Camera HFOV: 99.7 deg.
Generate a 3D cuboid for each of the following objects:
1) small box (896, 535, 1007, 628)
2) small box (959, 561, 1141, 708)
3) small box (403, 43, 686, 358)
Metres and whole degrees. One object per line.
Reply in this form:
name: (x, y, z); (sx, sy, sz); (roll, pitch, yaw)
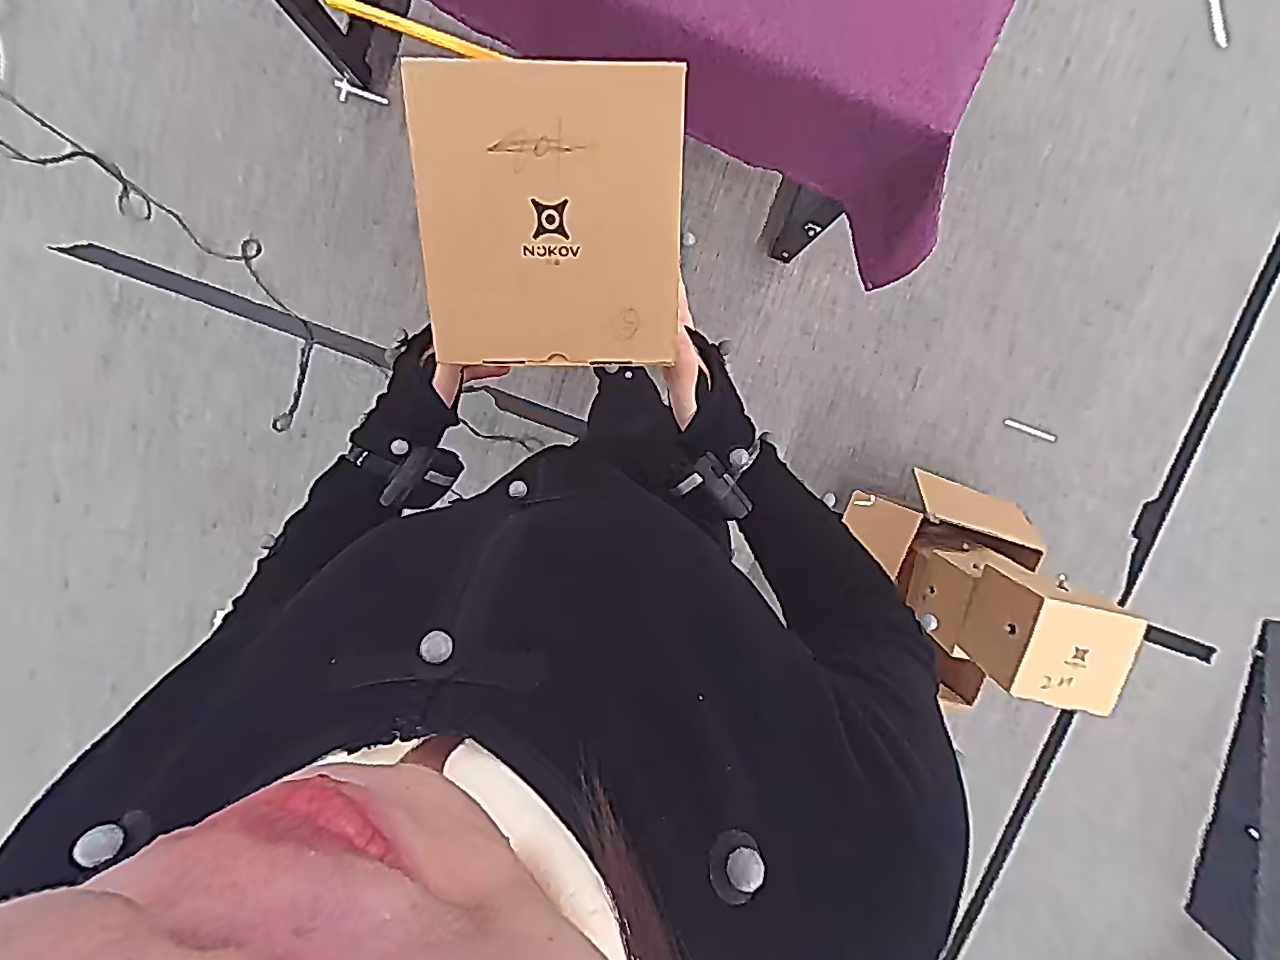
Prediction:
small box: (0.723, 0.231, 1.272); (0.168, 0.176, 0.179); (-2, 102, 3)
small box: (0.696, 0.258, 0.944); (0.168, 0.176, 0.179); (13, 102, 1)
small box: (-0.058, -0.194, 0.414); (0.168, 0.176, 0.179); (0, 110, -2)
